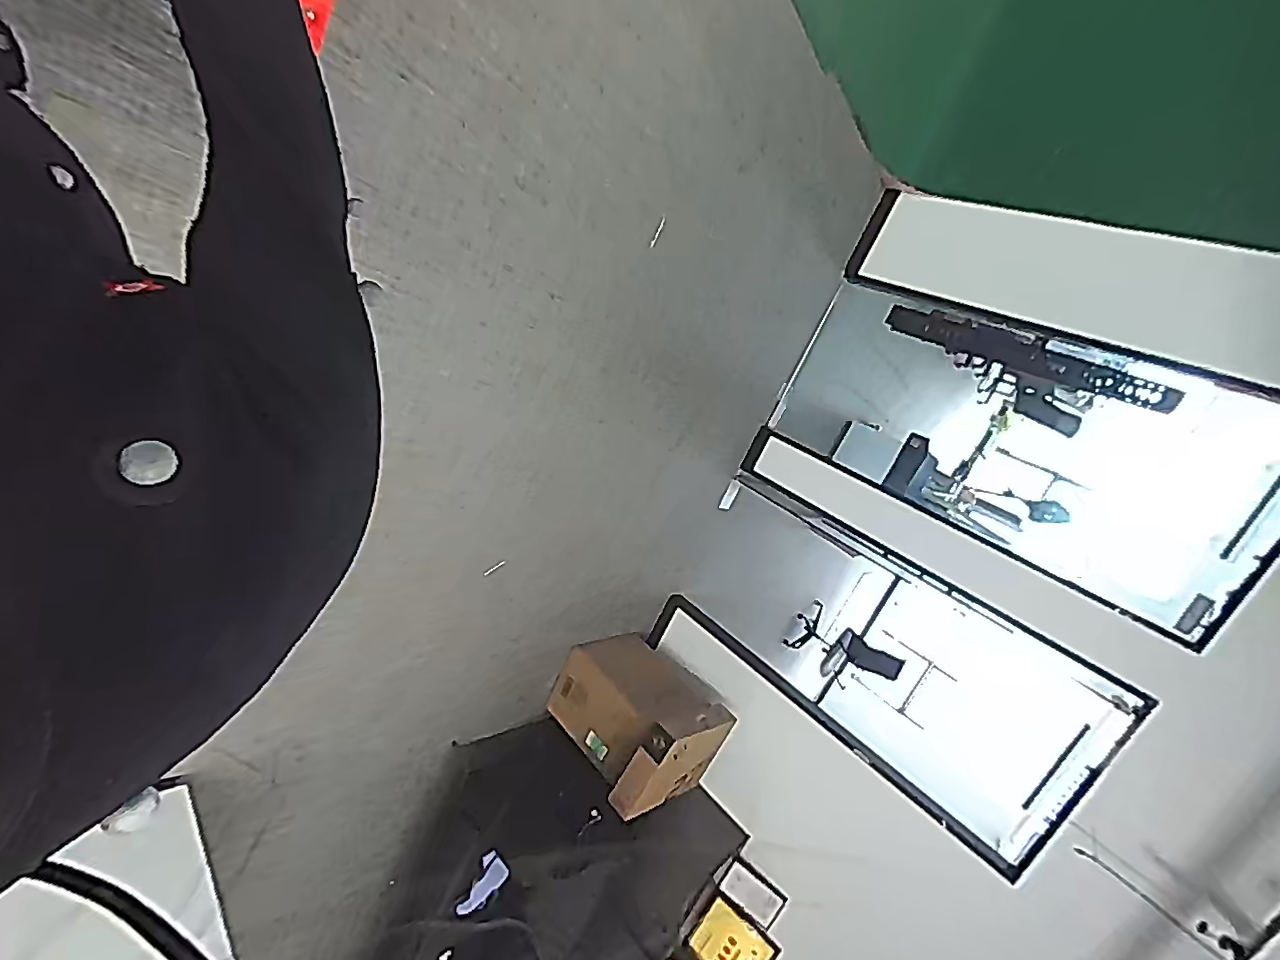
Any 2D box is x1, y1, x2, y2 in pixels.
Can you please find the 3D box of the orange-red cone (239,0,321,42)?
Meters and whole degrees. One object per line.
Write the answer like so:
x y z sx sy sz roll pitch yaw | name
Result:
-0.567 -0.882 0.888 0.199 0.360 0.198 12 109 -52 | orange-red cone
